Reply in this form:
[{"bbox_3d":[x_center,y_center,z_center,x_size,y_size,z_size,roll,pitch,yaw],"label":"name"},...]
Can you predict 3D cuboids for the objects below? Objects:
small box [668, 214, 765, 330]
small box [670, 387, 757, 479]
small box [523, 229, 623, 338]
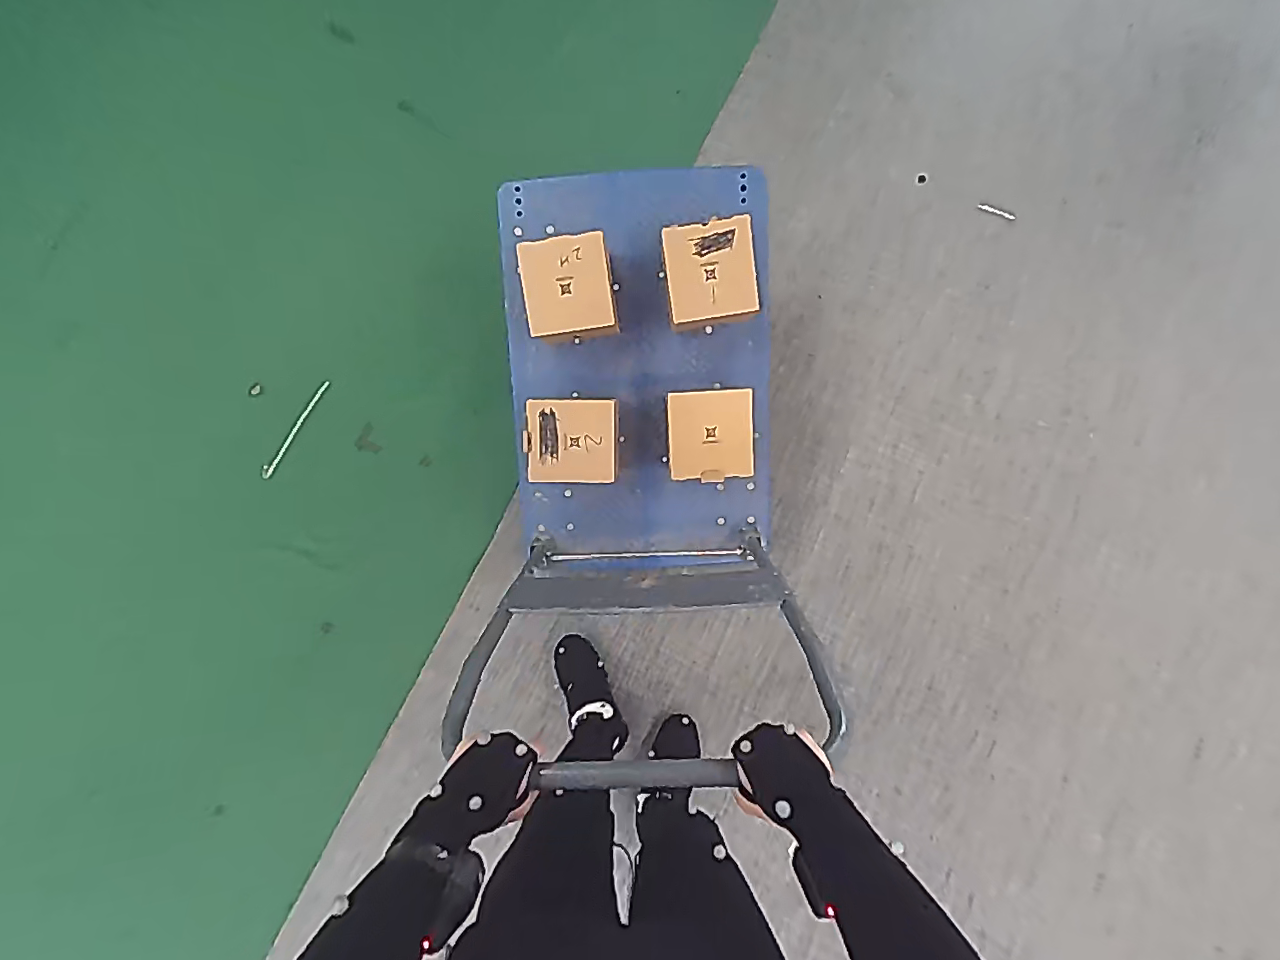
[{"bbox_3d":[0.146,-0.406,1.082,0.168,0.176,0.179,-7,100,3],"label":"small box"},{"bbox_3d":[0.149,-0.103,1.134,0.168,0.176,0.179,-2,100,2],"label":"small box"},{"bbox_3d":[-0.127,-0.386,1.093,0.168,0.176,0.179,-7,99,2],"label":"small box"}]
